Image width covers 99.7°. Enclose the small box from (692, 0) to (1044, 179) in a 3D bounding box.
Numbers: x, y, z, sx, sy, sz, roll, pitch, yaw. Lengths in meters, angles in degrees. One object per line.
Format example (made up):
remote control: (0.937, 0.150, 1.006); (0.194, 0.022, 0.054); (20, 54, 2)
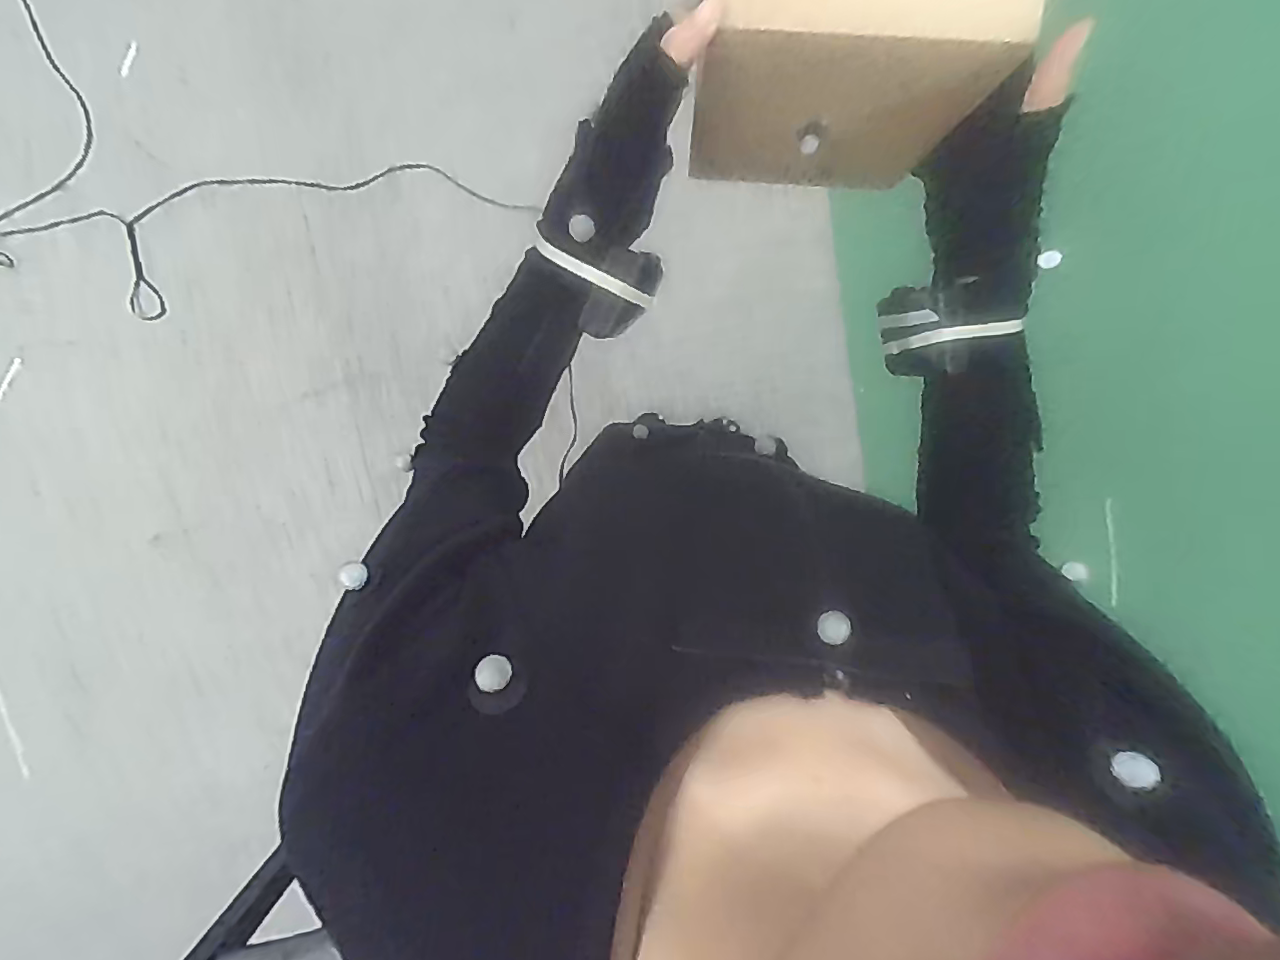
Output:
small box: (0.124, -0.315, 0.338); (0.168, 0.176, 0.179); (4, 95, 1)
